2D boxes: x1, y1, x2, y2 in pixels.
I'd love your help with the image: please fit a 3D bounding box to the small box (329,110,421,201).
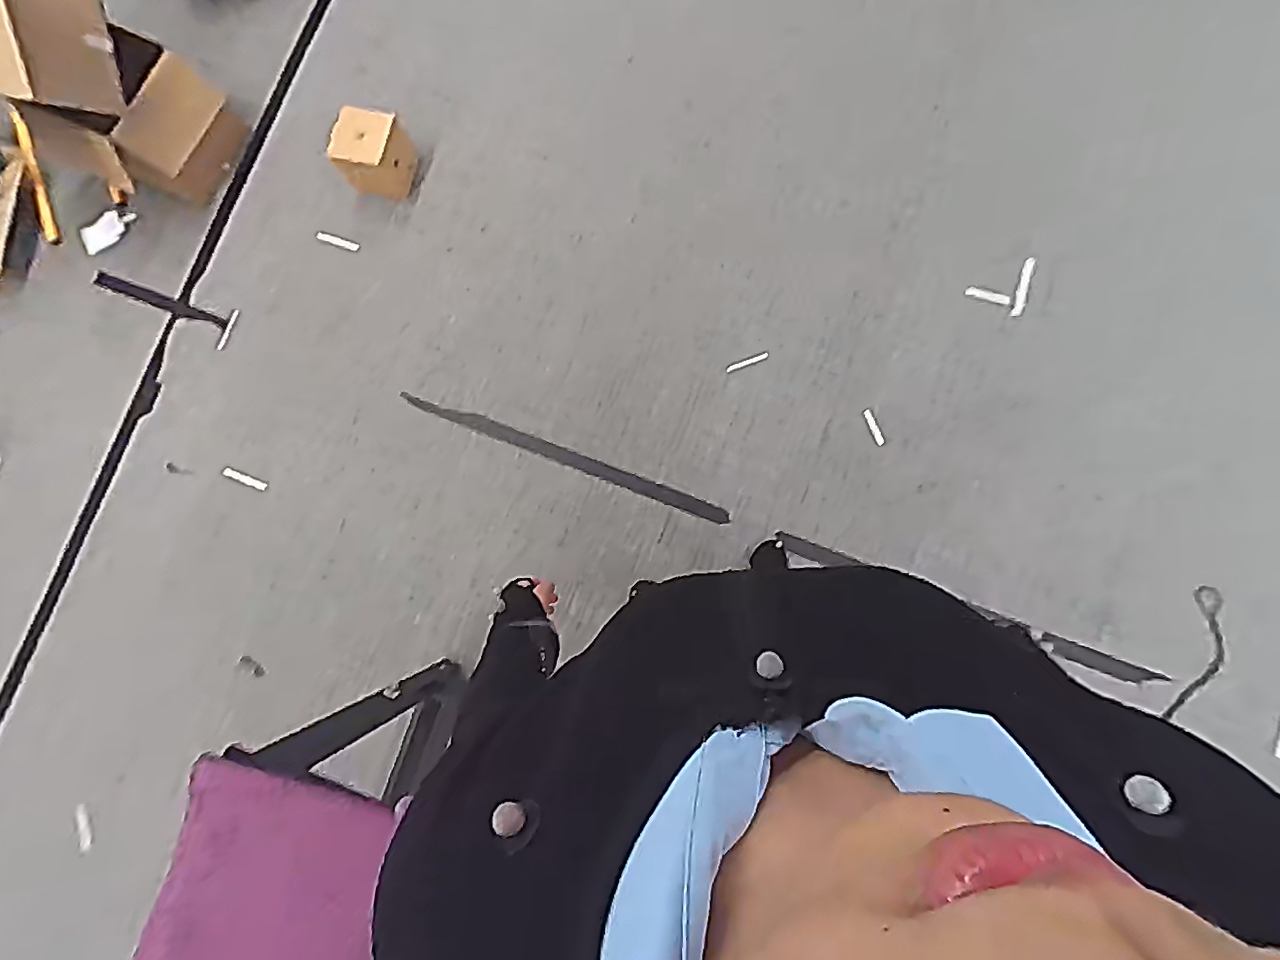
[{"bbox_3d":[-0.809,-0.995,1.671,0.179,0.176,0.168,13,84,7],"label":"small box"}]
